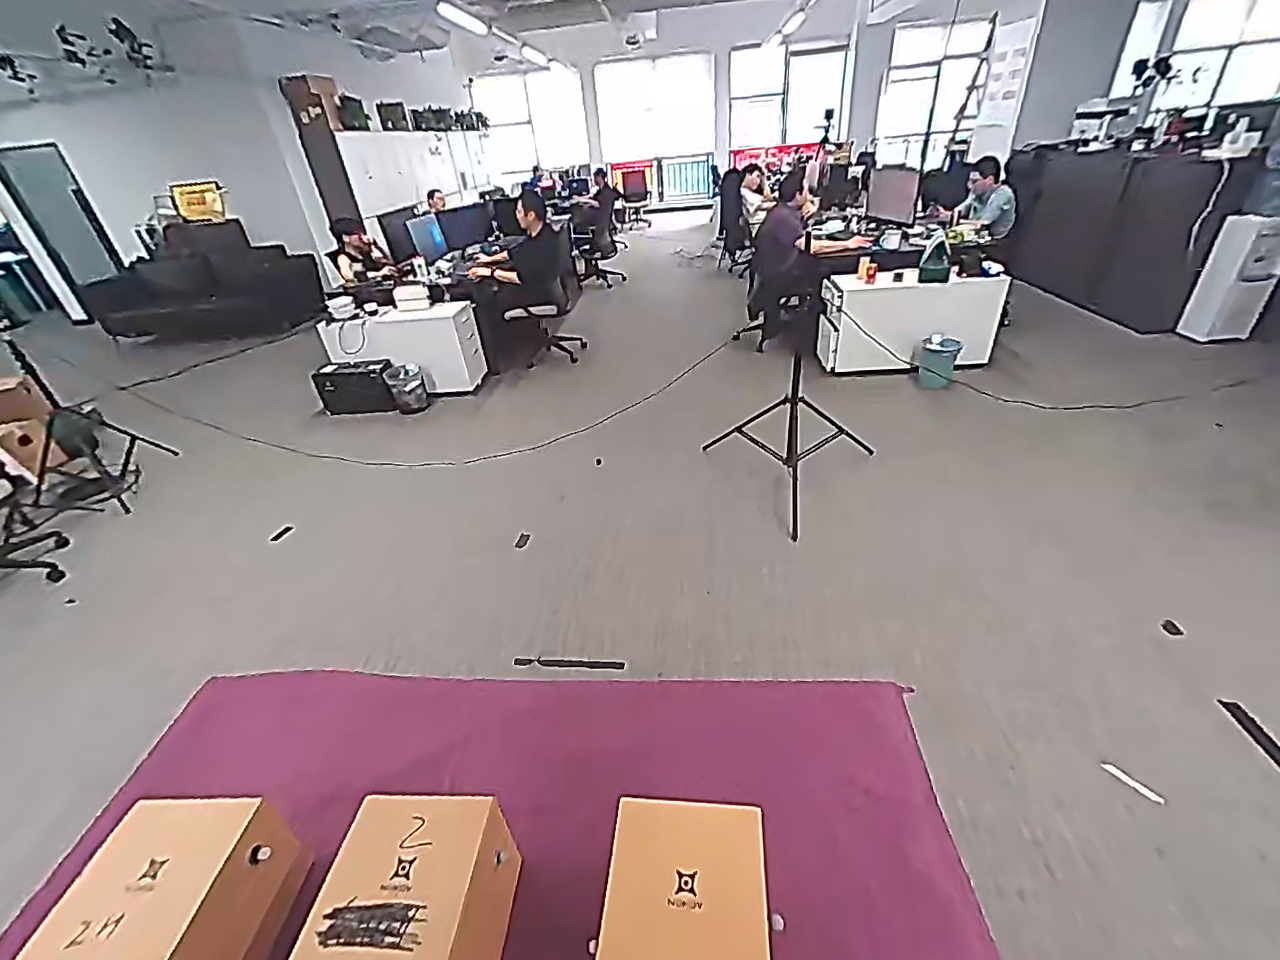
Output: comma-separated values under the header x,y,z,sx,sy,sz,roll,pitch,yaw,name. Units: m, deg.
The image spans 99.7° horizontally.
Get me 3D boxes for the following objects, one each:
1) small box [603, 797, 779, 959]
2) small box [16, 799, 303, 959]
x,y,z,sx,sy,sz,roll,pitch,yaw,name
0.060,0.485,0.592,0.168,0.176,0.179,-1,32,8,small box
-0.541,0.512,0.643,0.168,0.176,0.179,-3,32,3,small box
